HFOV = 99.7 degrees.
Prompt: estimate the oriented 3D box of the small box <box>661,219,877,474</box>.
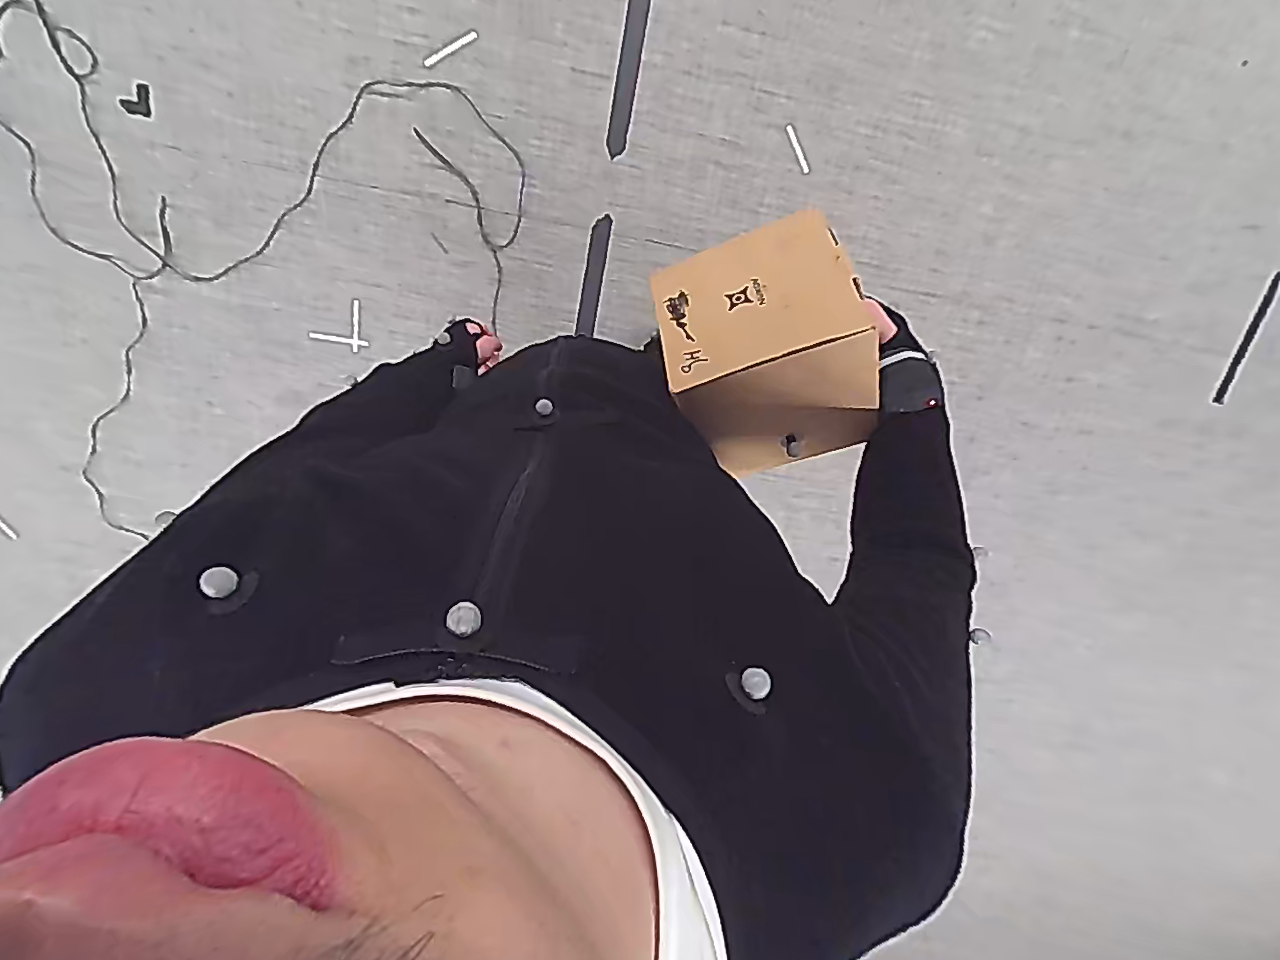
[{"bbox_3d":[0.136,-0.130,0.574,0.179,0.168,0.176,-16,146,14],"label":"small box"}]
